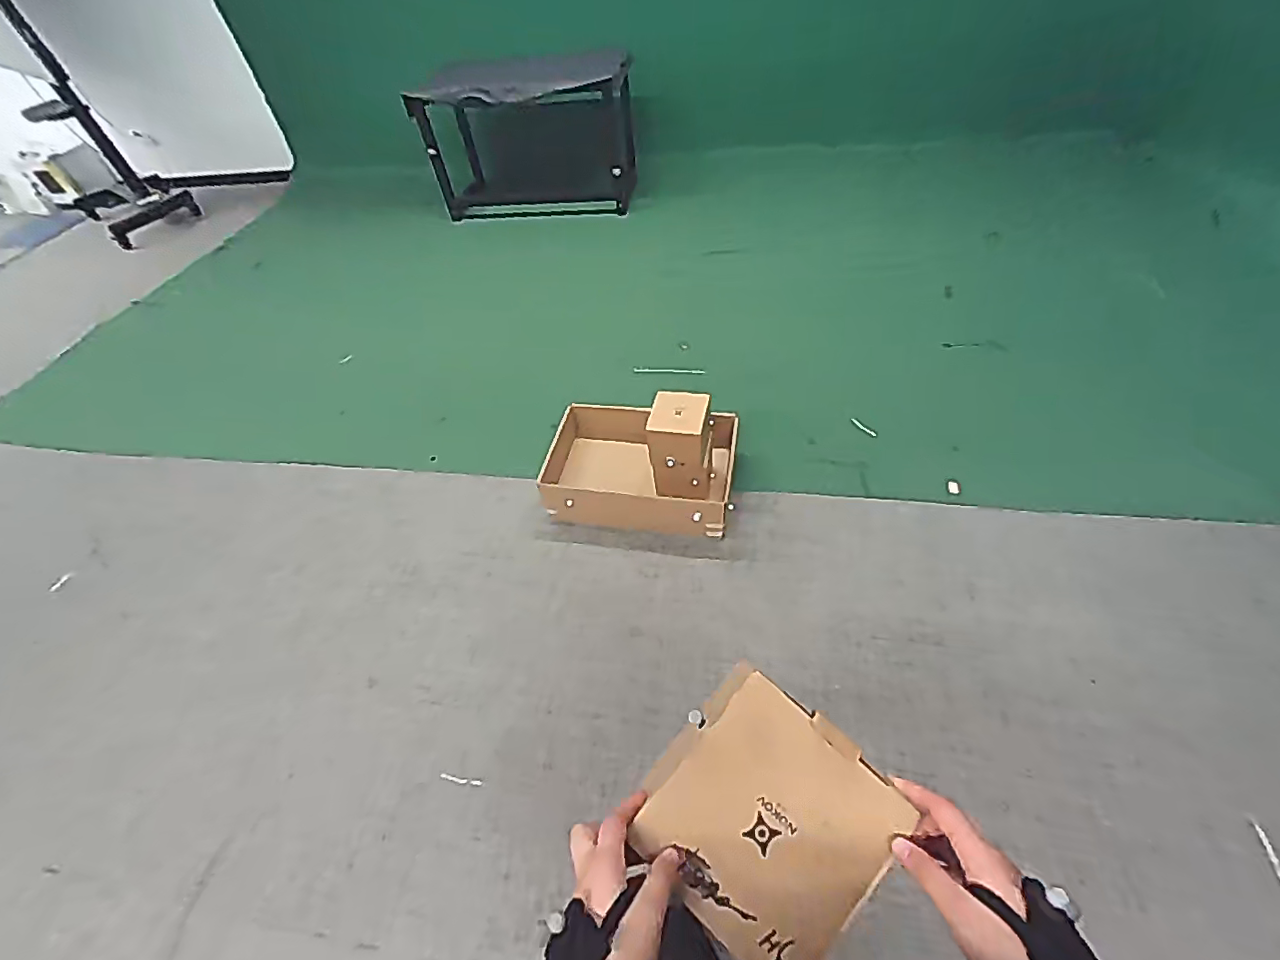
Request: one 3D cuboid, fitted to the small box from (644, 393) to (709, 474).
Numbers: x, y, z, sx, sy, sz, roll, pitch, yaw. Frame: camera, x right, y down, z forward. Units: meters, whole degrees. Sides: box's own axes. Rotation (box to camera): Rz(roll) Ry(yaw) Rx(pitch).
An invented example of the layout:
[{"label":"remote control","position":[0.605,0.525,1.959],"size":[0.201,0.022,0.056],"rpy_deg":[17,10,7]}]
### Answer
[{"label":"small box","position":[0.118,-0.144,1.665],"size":[0.168,0.176,0.179],"rpy_deg":[6,52,14]}]
